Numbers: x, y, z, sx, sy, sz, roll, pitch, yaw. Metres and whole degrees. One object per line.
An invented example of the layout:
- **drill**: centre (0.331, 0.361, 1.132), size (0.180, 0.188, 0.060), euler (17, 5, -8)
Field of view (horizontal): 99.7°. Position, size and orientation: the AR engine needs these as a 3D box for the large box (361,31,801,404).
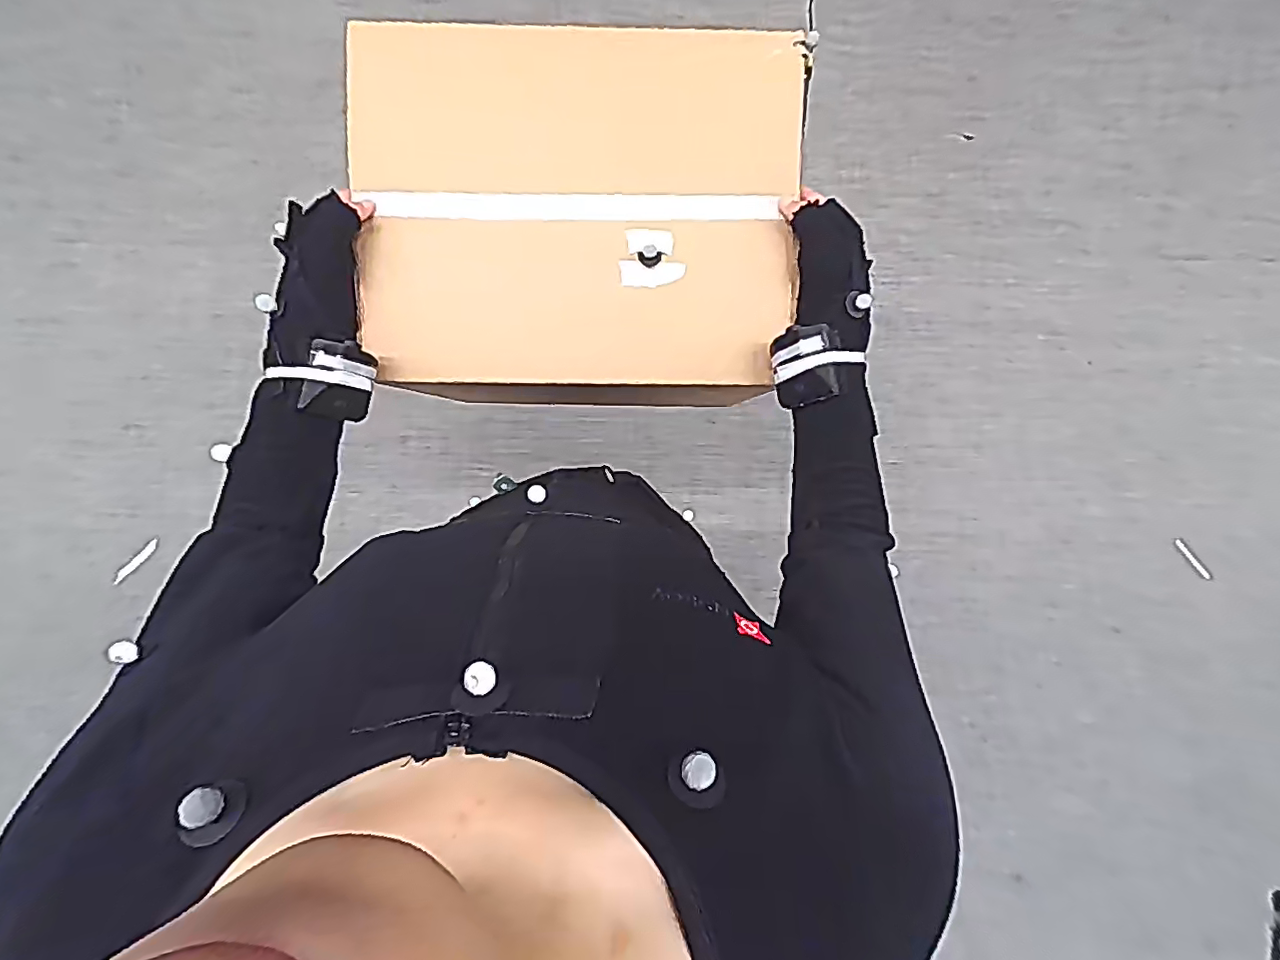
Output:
- **large box**: centre (-0.056, -0.259, 0.644), size (0.408, 0.320, 0.320), euler (0, 94, -2)
